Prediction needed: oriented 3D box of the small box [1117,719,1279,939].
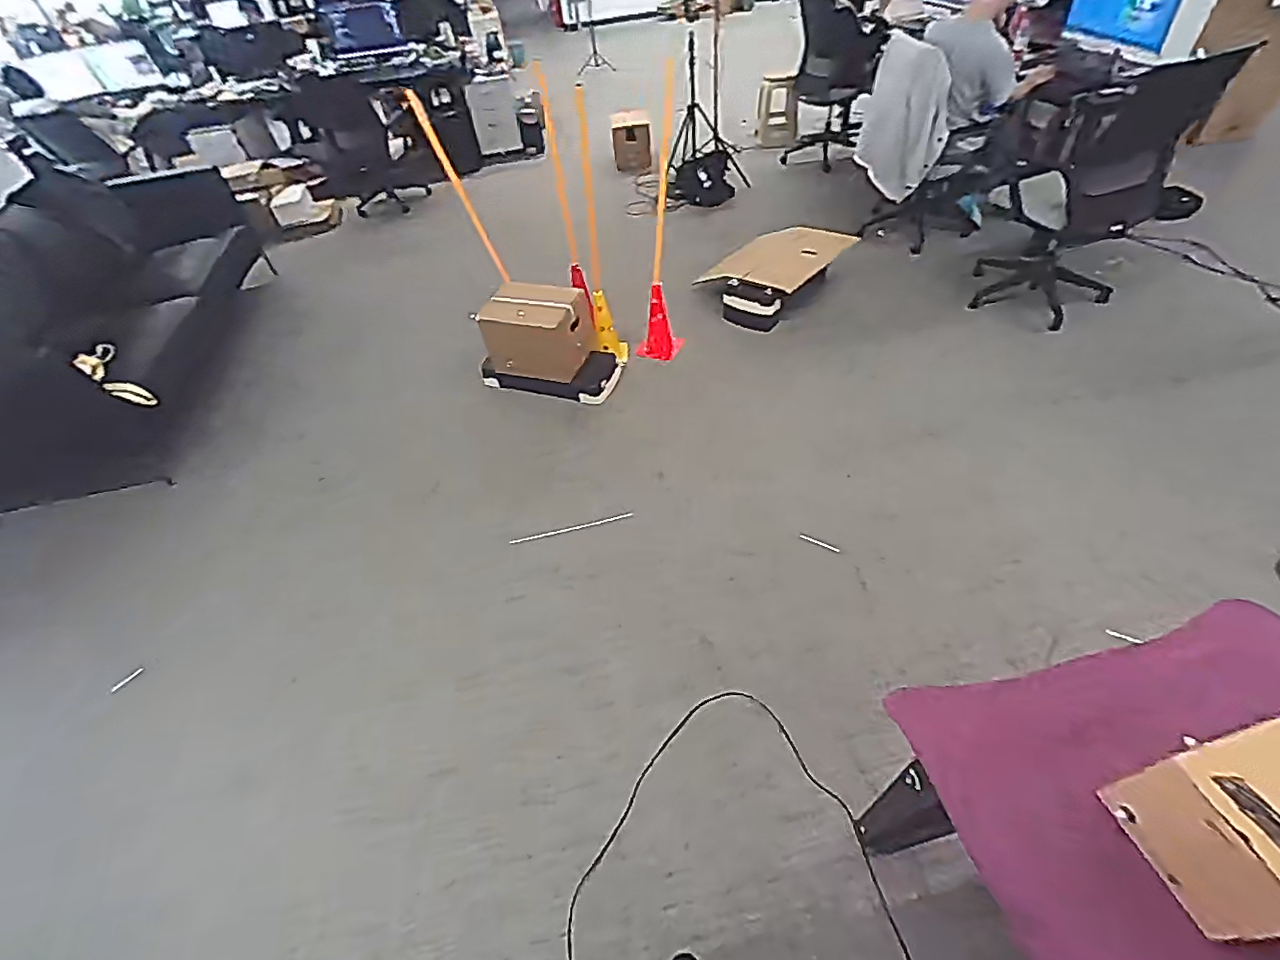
[{"bbox_3d":[0.722,0.409,0.635,0.179,0.176,0.168,-15,48,-7],"label":"small box"}]
